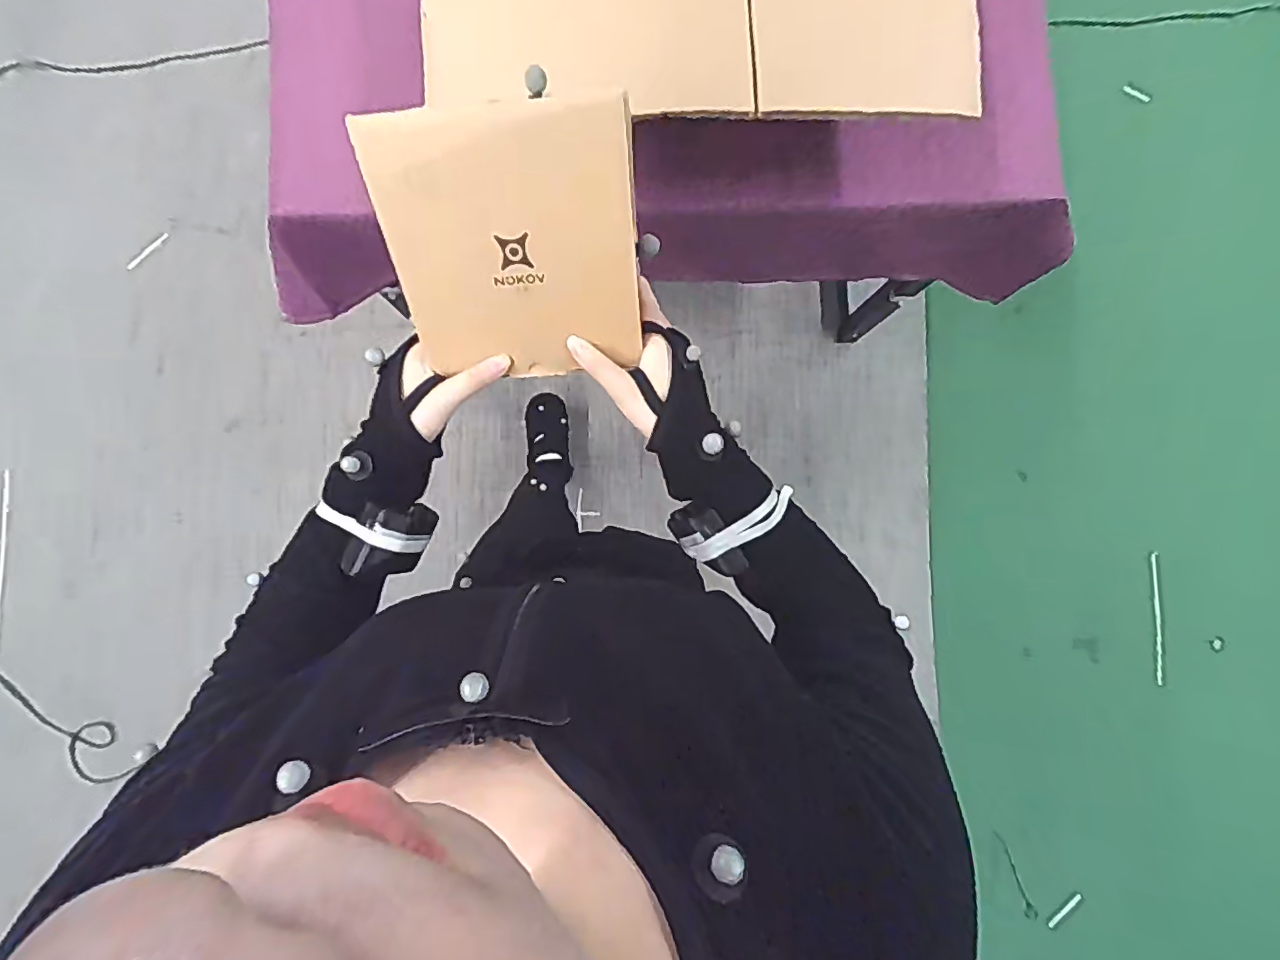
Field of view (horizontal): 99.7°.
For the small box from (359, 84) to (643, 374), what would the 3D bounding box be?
[{"bbox_3d":[-0.087,-0.207,0.436,0.168,0.176,0.179,-4,129,2],"label":"small box"}]
